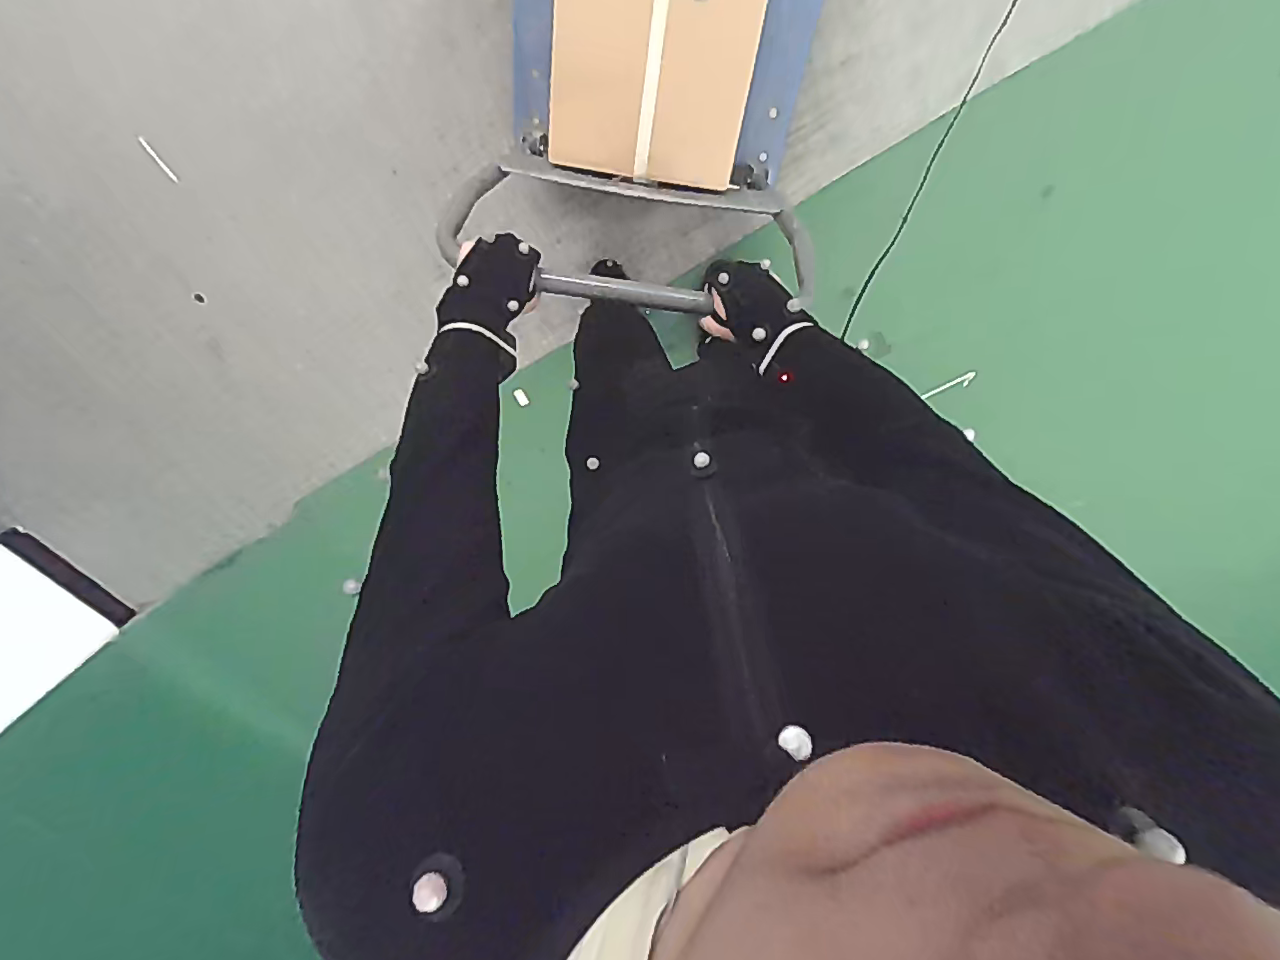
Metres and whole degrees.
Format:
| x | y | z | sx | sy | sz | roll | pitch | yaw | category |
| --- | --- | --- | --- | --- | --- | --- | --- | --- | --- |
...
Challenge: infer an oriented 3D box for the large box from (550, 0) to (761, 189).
| x | y | z | sx | sy | sz | roll | pitch | yaw | category |
| --- | --- | --- | --- | --- | --- | --- | --- | --- | --- |
| 0.029 | -0.772 | 0.958 | 0.320 | 0.320 | 0.408 | 8 | 124 | -3 | large box |
